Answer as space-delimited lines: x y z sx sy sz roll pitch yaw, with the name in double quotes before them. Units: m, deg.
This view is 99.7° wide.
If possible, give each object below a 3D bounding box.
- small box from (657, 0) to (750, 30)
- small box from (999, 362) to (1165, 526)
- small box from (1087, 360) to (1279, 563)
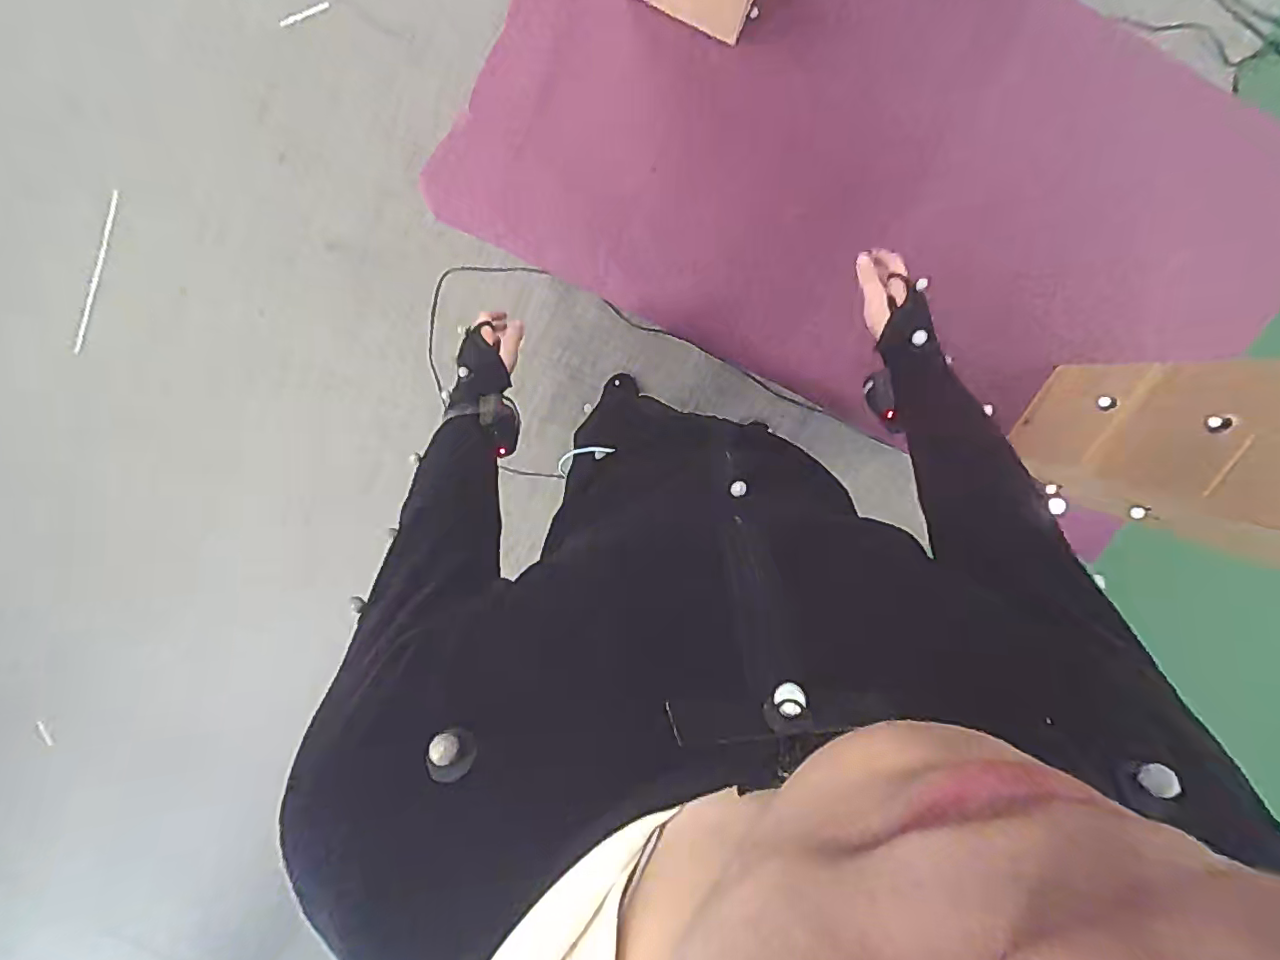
"small box" 0.084 -0.698 0.649 0.179 0.176 0.168 23 102 -5
"small box" 0.690 -0.062 0.792 0.179 0.176 0.168 30 100 -6
"small box" 0.693 -0.030 0.632 0.168 0.176 0.179 30 100 -4
